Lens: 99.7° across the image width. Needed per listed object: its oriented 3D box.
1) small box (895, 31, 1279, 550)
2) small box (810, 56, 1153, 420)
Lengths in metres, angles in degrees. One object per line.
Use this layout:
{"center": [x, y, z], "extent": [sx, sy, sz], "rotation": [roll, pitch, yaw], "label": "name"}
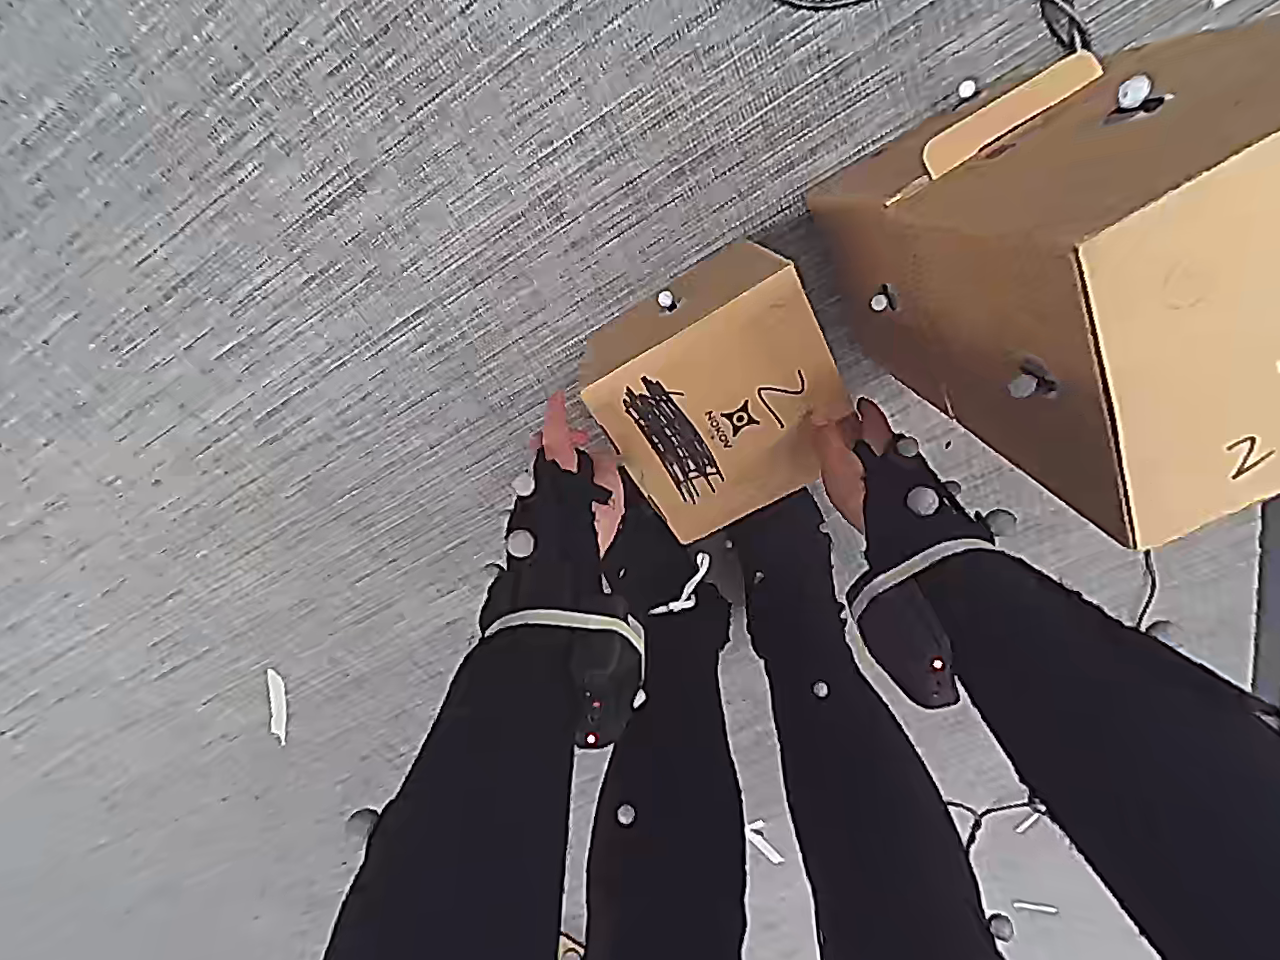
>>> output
{"center": [0.268, -0.103, 0.289], "extent": [0.168, 0.176, 0.179], "rotation": [-29, 117, 14], "label": "small box"}
{"center": [0.260, -0.184, 0.433], "extent": [0.168, 0.176, 0.179], "rotation": [-28, 118, 13], "label": "small box"}
